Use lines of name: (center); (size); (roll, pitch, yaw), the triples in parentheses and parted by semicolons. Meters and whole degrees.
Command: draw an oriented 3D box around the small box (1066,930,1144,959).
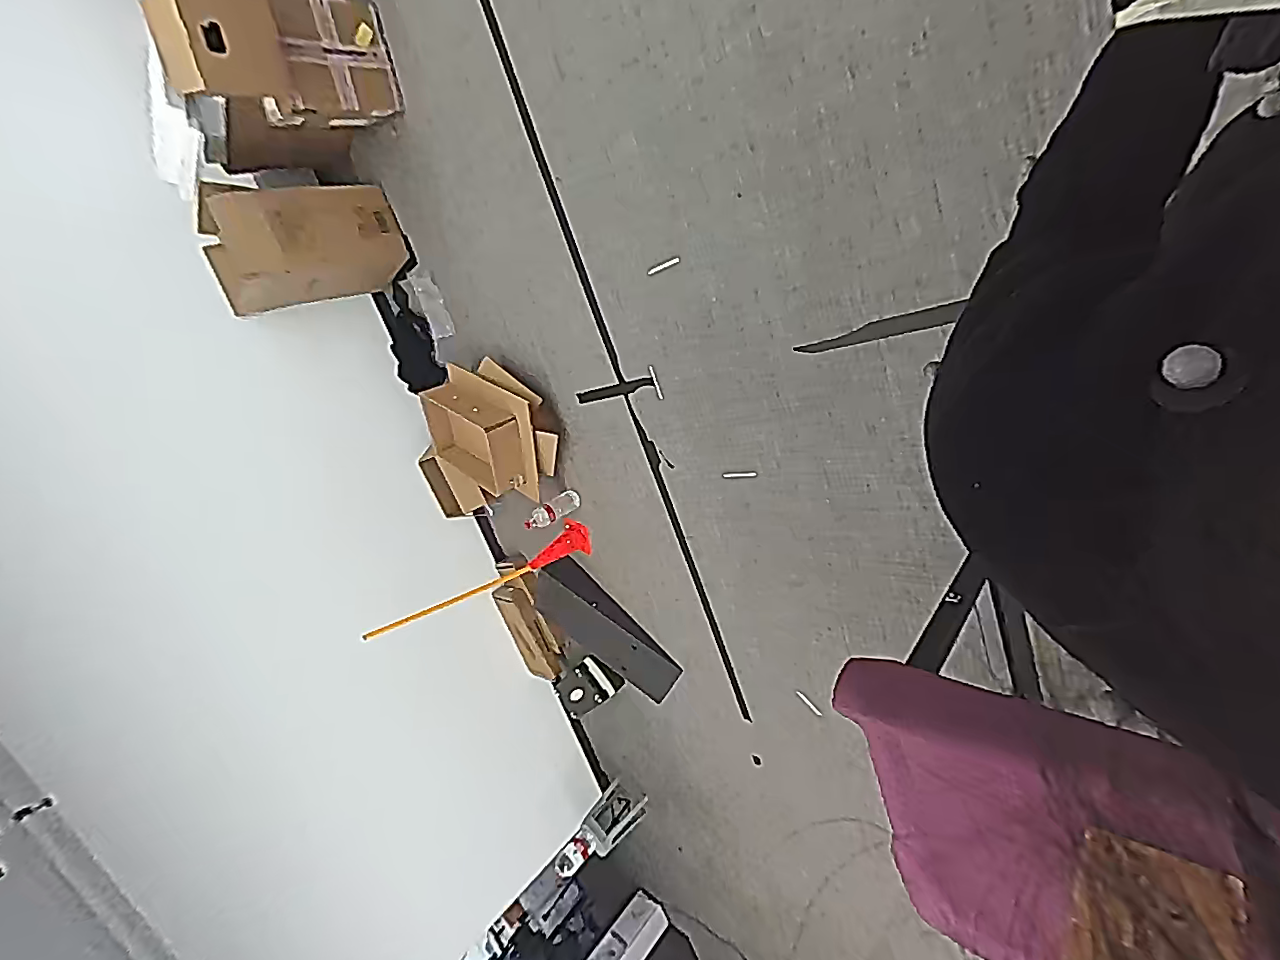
small box: (0.637, 0.732, 0.676); (0.168, 0.176, 0.179); (-1, 114, 48)

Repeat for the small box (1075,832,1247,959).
small box: (0.746, 0.658, 0.774); (0.168, 0.176, 0.179); (-2, 114, 48)
